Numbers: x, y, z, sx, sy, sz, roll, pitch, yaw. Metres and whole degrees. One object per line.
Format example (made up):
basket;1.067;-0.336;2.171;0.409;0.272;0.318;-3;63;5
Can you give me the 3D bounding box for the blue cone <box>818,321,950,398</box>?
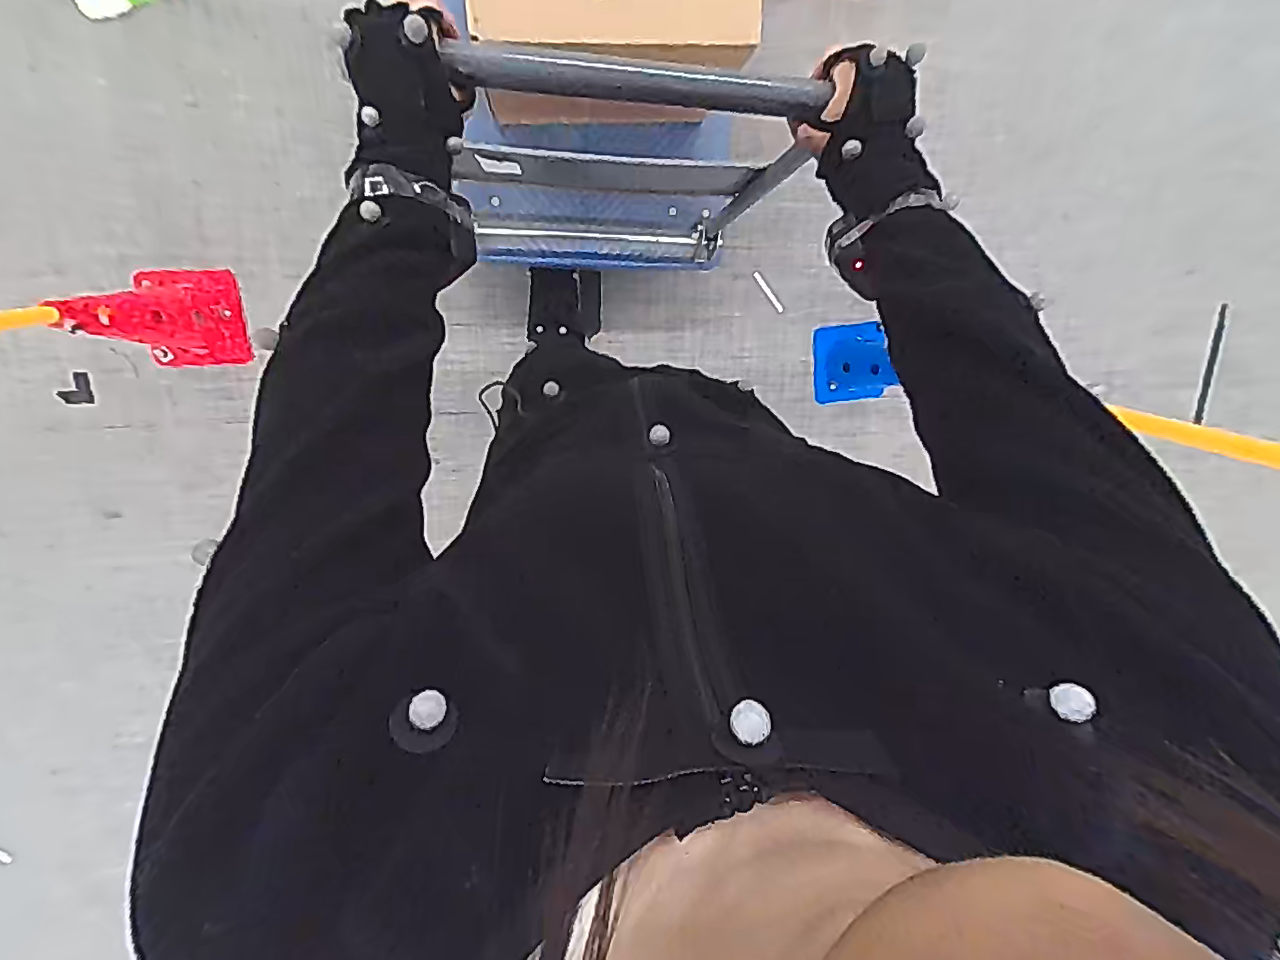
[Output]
blue cone;0.587;-0.278;1.276;0.193;0.380;0.192;-7;105;-8
